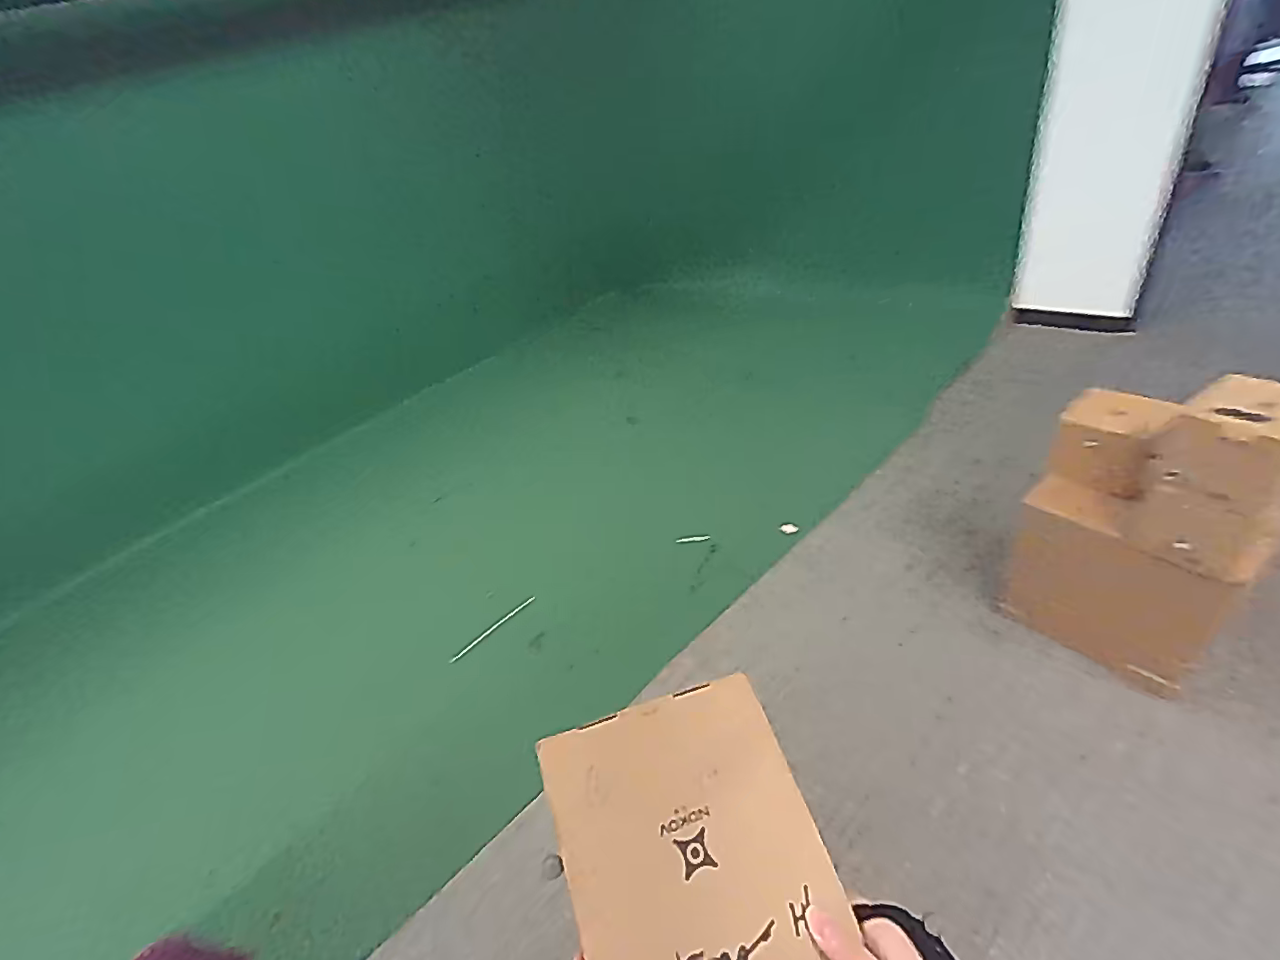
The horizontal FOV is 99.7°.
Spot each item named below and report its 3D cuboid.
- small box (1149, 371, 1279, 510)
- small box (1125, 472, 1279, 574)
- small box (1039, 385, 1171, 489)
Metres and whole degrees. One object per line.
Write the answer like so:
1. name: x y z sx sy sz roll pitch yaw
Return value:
1. small box: 1.101 -0.074 1.002 0.179 0.176 0.168 -28 38 -17
2. small box: 1.139 0.055 1.099 0.179 0.176 0.168 -32 38 -19
3. small box: 1.113 -0.101 1.307 0.168 0.176 0.179 -34 39 -21
